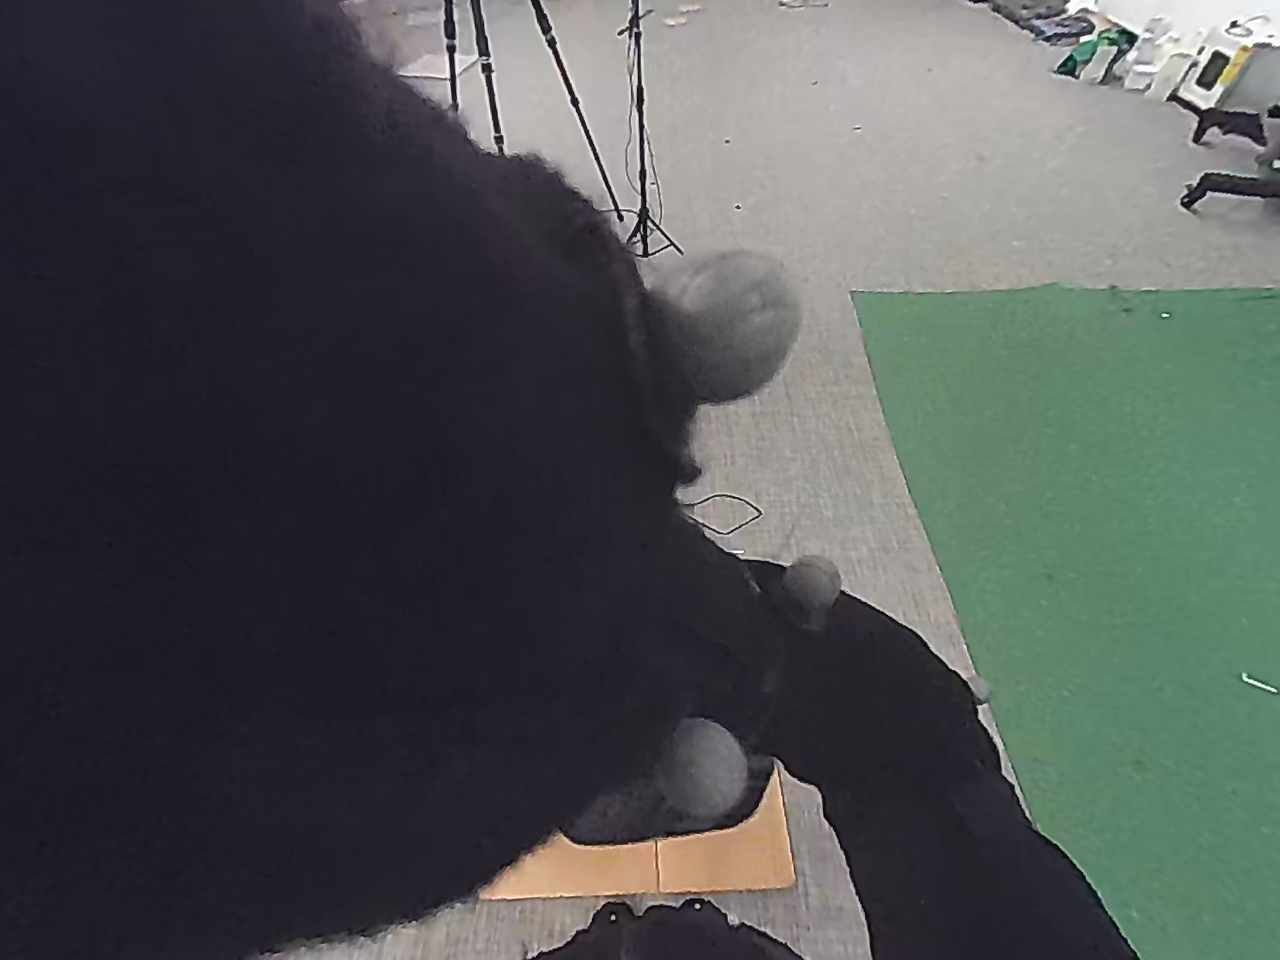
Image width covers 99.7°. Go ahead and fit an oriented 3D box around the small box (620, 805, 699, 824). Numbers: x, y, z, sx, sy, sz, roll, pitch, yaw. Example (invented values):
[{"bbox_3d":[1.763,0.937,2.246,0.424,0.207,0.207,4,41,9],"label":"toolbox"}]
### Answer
[{"bbox_3d":[0.039,0.666,1.227,0.168,0.176,0.179,-3,53,0],"label":"small box"}]
